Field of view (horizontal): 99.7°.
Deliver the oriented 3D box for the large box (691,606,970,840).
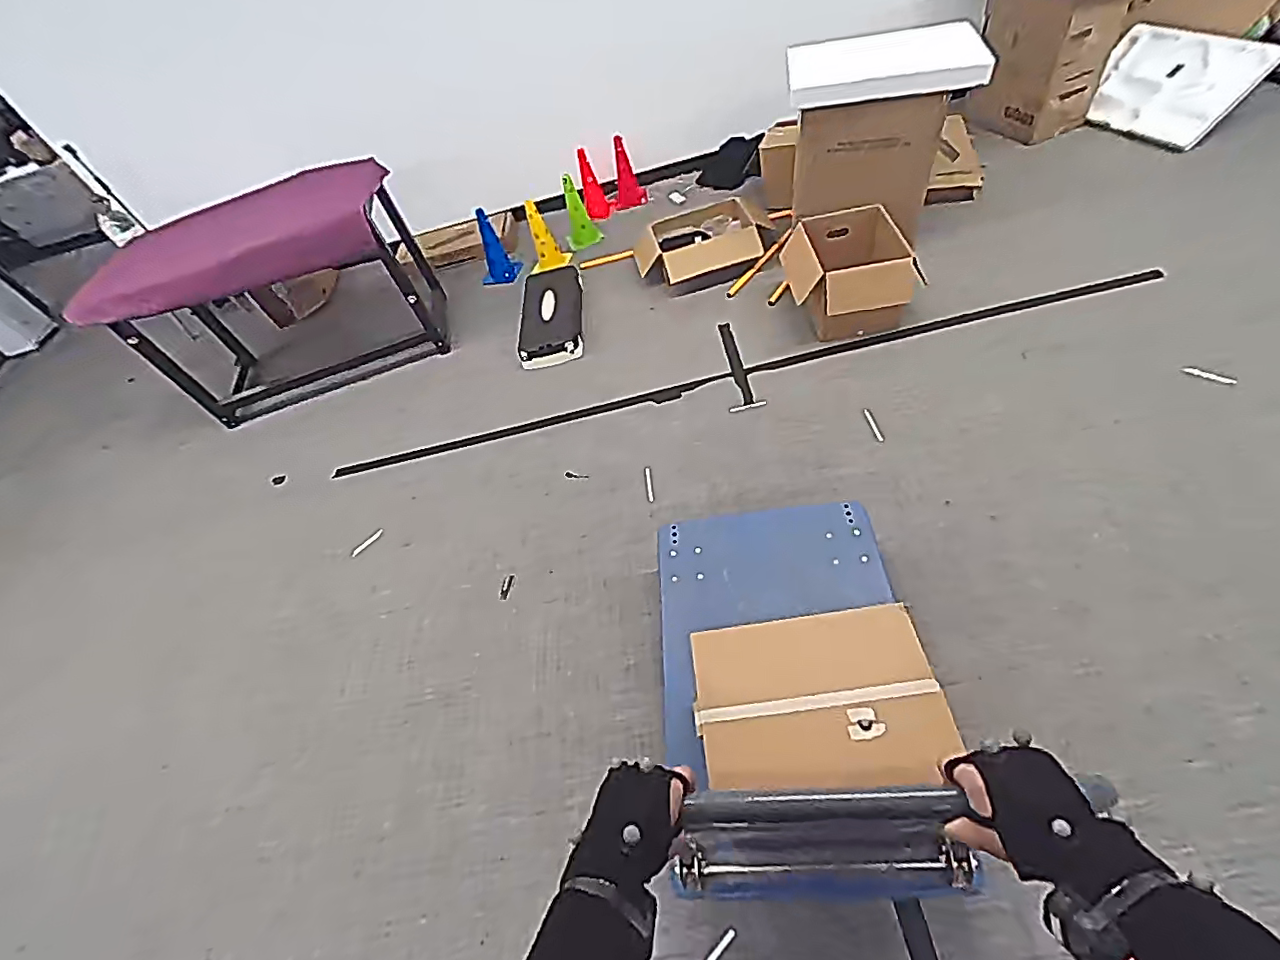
[{"bbox_3d":[0.331,0.482,1.054,0.408,0.320,0.320,-10,51,6],"label":"large box"}]
